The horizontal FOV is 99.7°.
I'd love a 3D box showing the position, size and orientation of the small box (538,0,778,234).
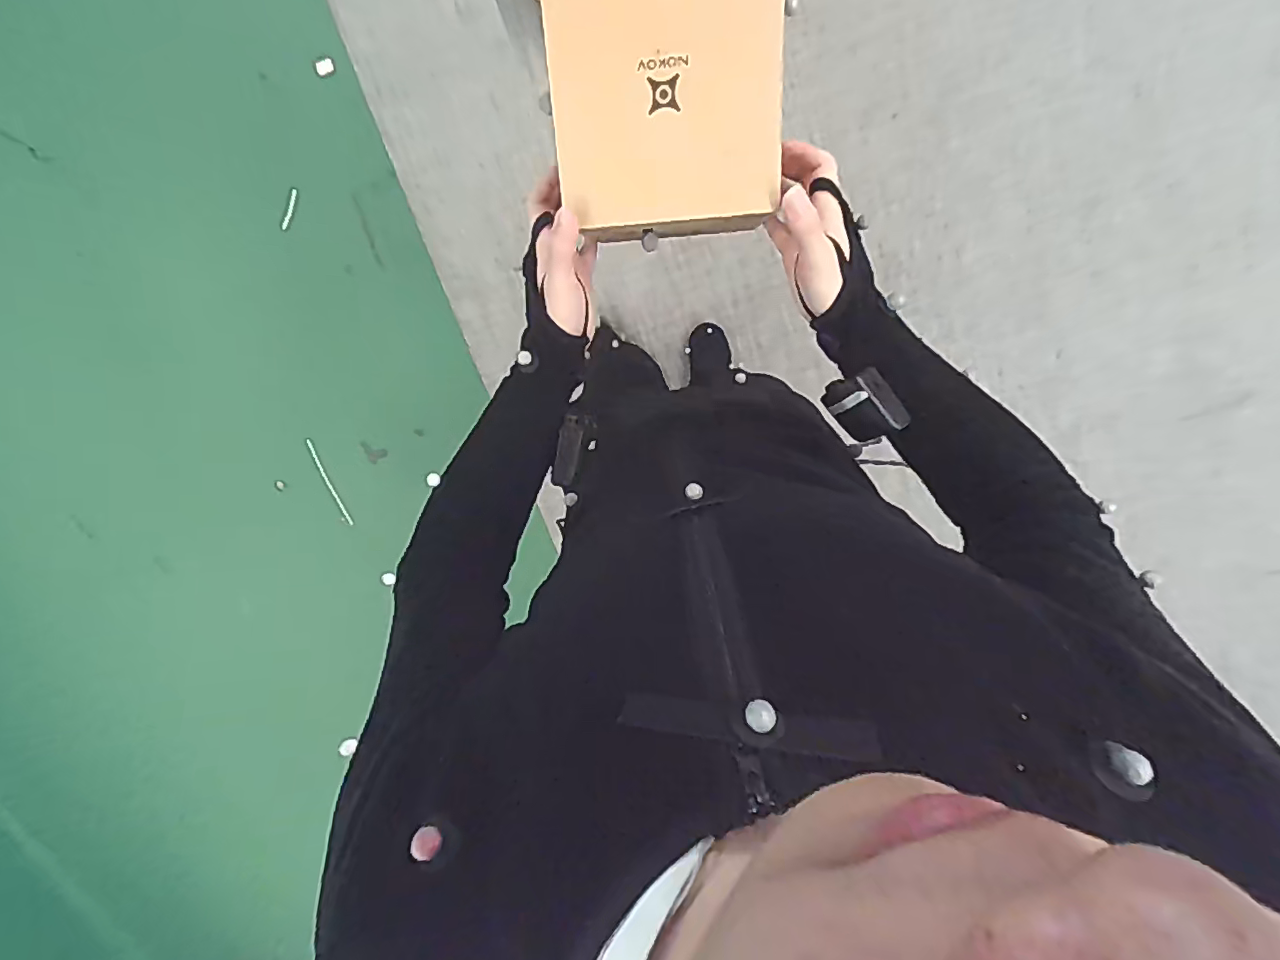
[{"bbox_3d":[0.023,-0.310,0.451,0.168,0.176,0.179,-2,107,8],"label":"small box"}]
